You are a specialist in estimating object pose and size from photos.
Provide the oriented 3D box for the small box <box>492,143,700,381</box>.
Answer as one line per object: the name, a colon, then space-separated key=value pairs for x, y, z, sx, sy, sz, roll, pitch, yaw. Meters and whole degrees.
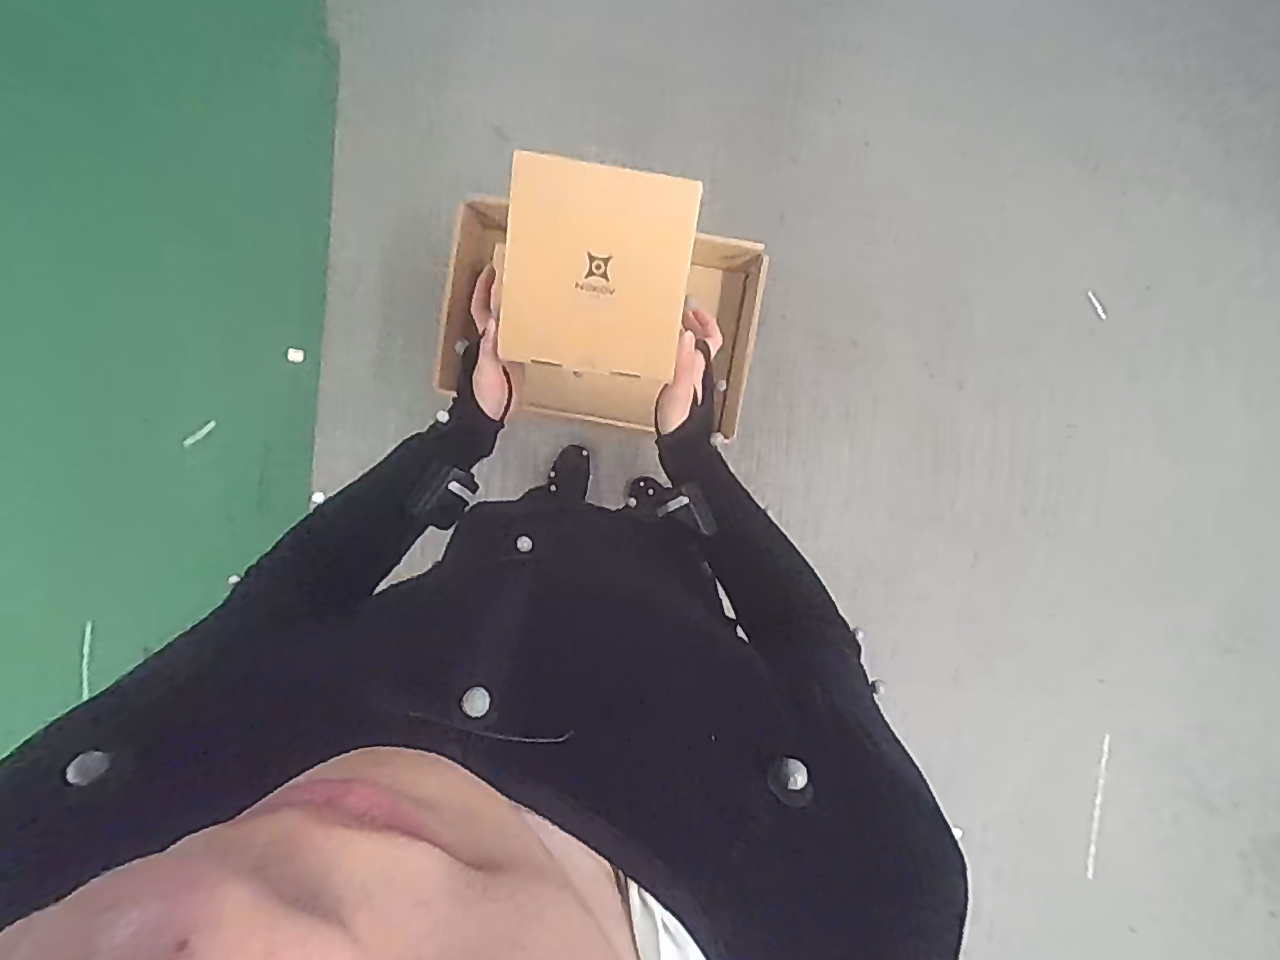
small box: x=-0.046 y=-0.204 z=0.547 sx=0.168 sy=0.176 sz=0.179 roll=7 pitch=105 yaw=-5
